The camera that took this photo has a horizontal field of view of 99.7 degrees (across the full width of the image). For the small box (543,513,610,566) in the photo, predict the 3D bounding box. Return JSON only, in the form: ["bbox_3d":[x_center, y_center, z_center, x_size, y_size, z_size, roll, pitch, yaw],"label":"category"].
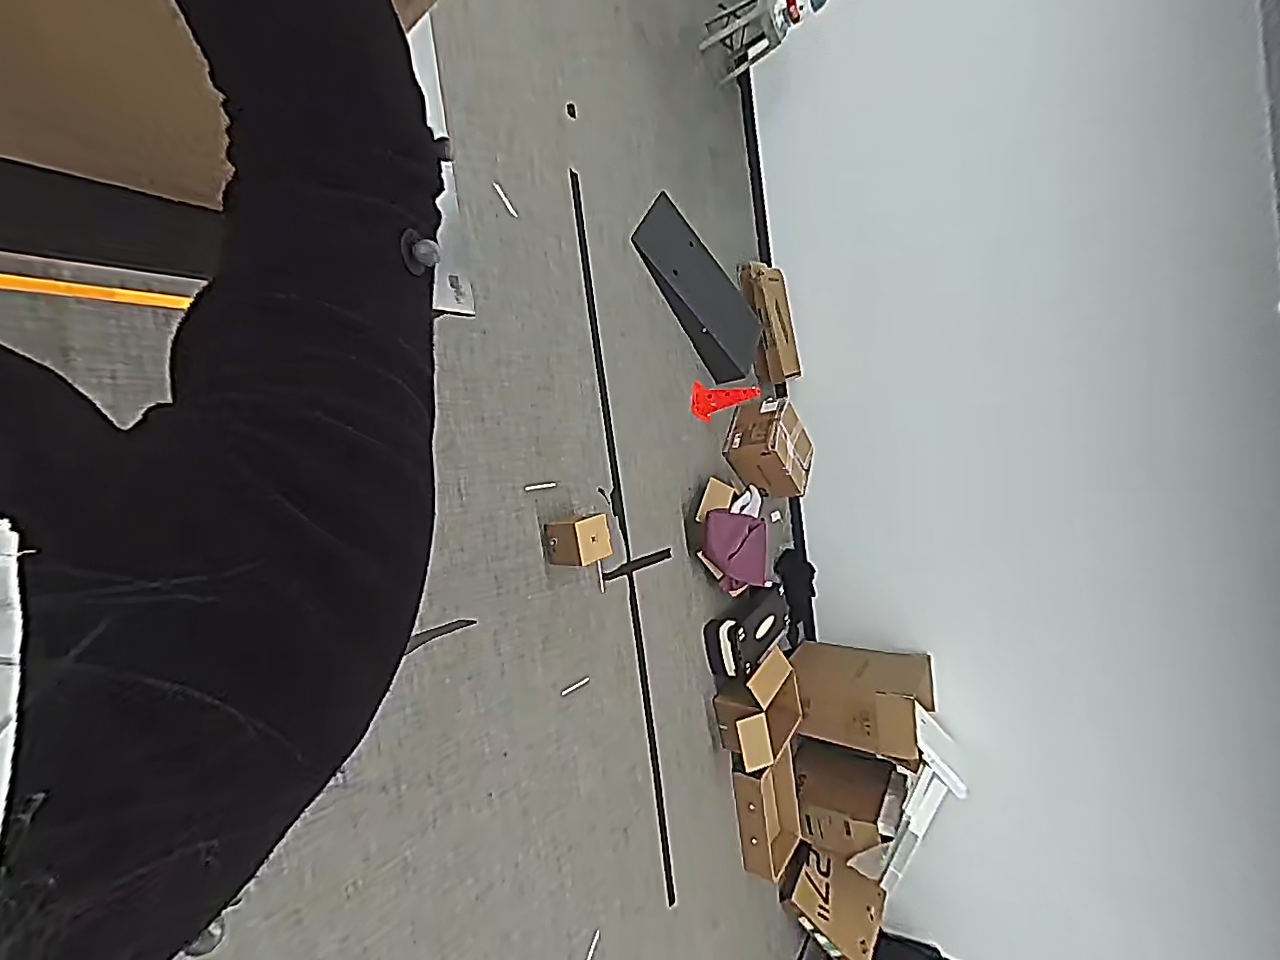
[{"bbox_3d":[-0.245,0.225,2.077,0.179,0.176,0.168,-16,97,-51],"label":"small box"}]
